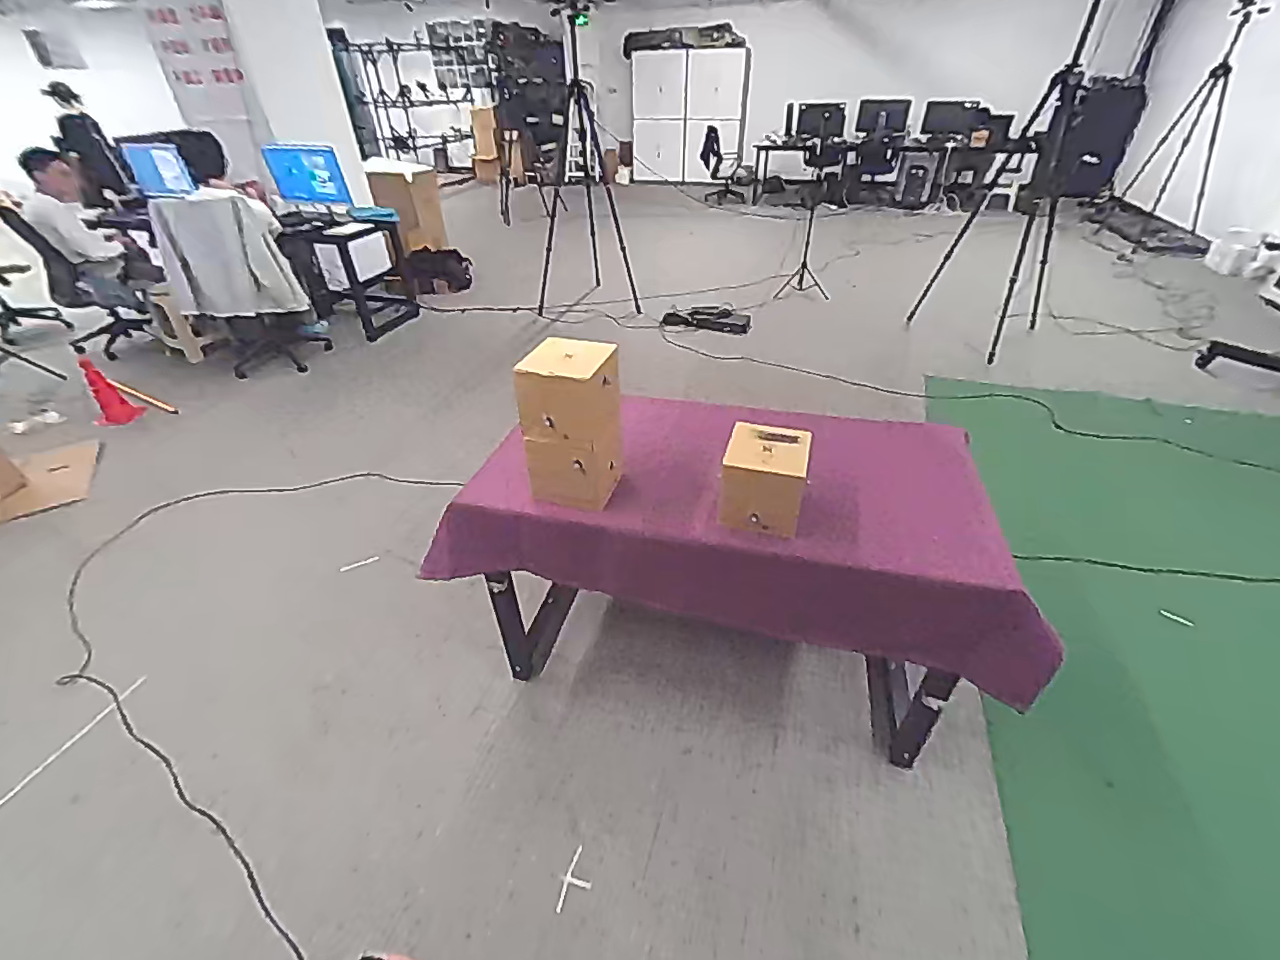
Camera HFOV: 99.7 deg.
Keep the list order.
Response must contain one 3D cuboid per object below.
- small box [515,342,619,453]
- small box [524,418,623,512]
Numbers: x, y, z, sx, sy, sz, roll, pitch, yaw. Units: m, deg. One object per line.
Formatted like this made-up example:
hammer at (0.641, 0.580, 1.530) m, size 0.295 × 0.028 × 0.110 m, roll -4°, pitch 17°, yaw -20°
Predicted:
small box at (-0.149, -0.181, 1.174) m, size 0.168 × 0.176 × 0.179 m, roll 10°, pitch 39°, yaw 15°
small box at (-0.145, -0.044, 1.262) m, size 0.179 × 0.176 × 0.168 m, roll 9°, pitch 37°, yaw 15°
